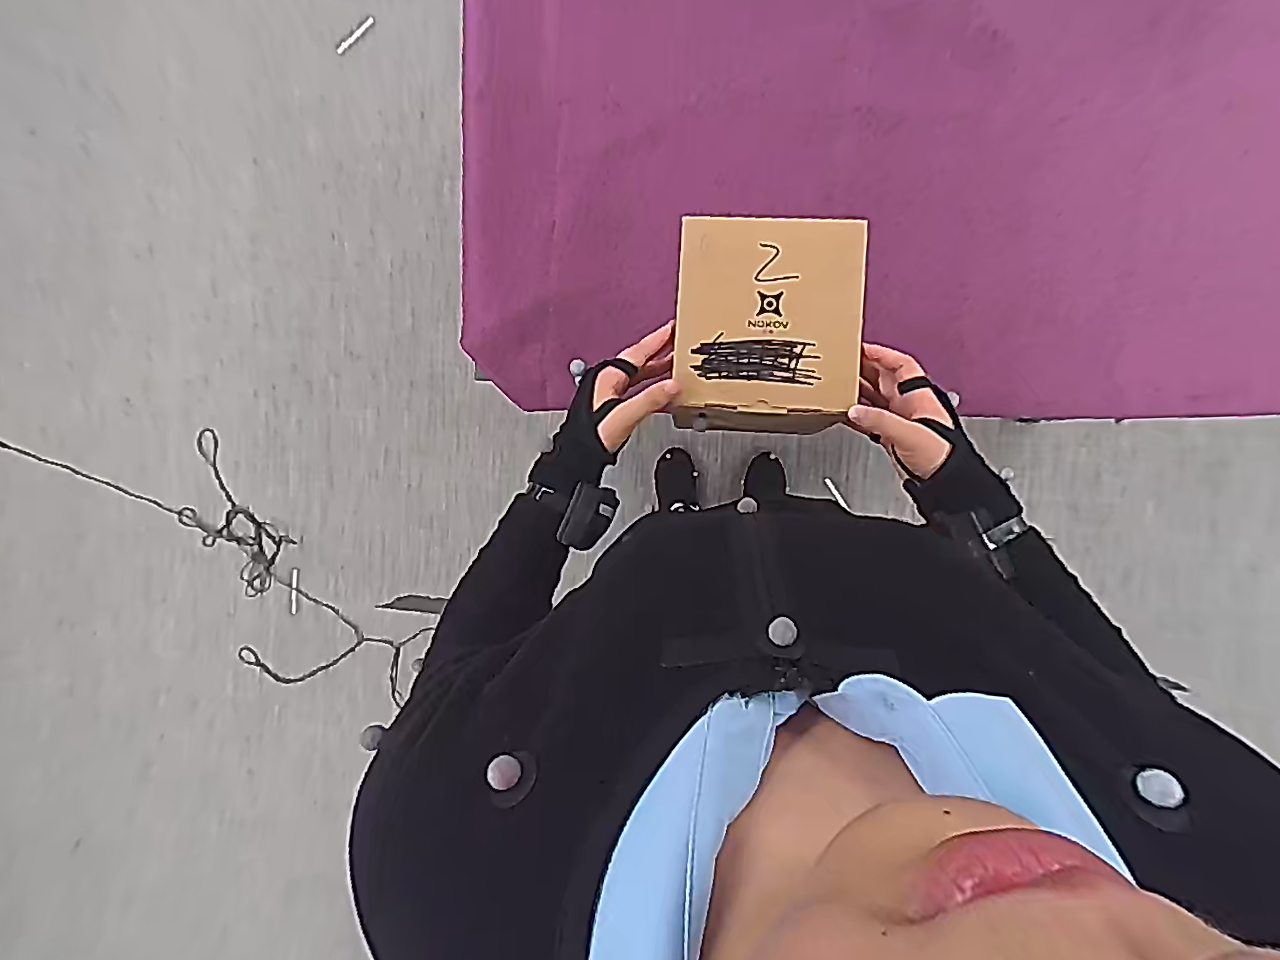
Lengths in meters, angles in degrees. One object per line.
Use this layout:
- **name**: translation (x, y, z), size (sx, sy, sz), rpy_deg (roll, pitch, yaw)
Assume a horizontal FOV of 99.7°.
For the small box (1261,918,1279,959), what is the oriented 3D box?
- **small box**: translation (1.703, 1.227, 1.333), size (0.179, 0.176, 0.168), rpy_deg (-3, 93, 6)
